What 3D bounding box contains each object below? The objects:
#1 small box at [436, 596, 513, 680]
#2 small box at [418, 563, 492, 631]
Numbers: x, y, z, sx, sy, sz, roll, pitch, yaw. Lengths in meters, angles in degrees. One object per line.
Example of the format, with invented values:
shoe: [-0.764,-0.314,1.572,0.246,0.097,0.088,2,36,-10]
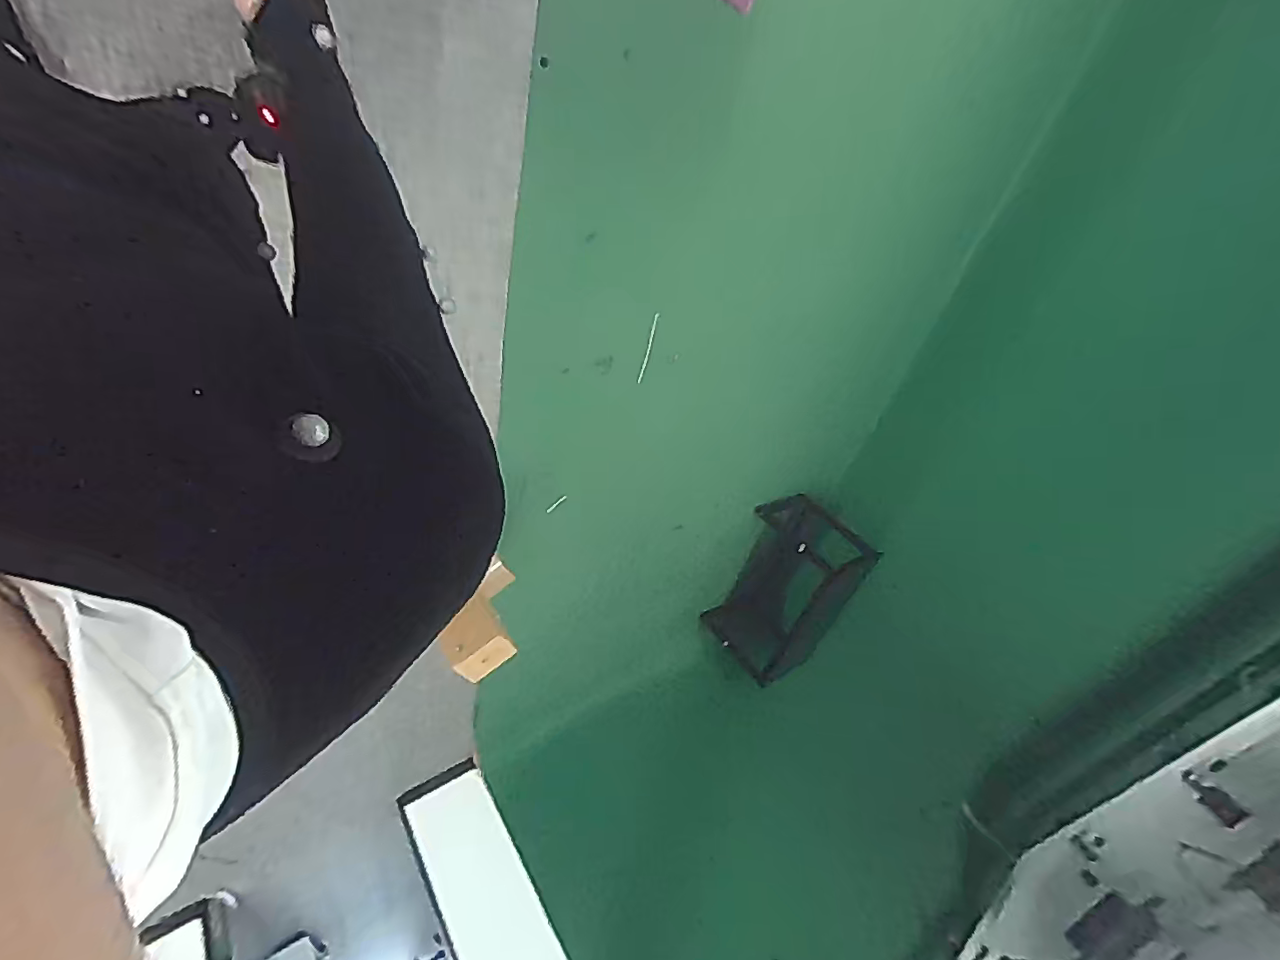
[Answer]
small box: [-0.559,0.526,1.807,0.179,0.176,0.168,-35,146,-14]
small box: [-0.654,0.430,1.900,0.179,0.176,0.168,-37,145,-12]
